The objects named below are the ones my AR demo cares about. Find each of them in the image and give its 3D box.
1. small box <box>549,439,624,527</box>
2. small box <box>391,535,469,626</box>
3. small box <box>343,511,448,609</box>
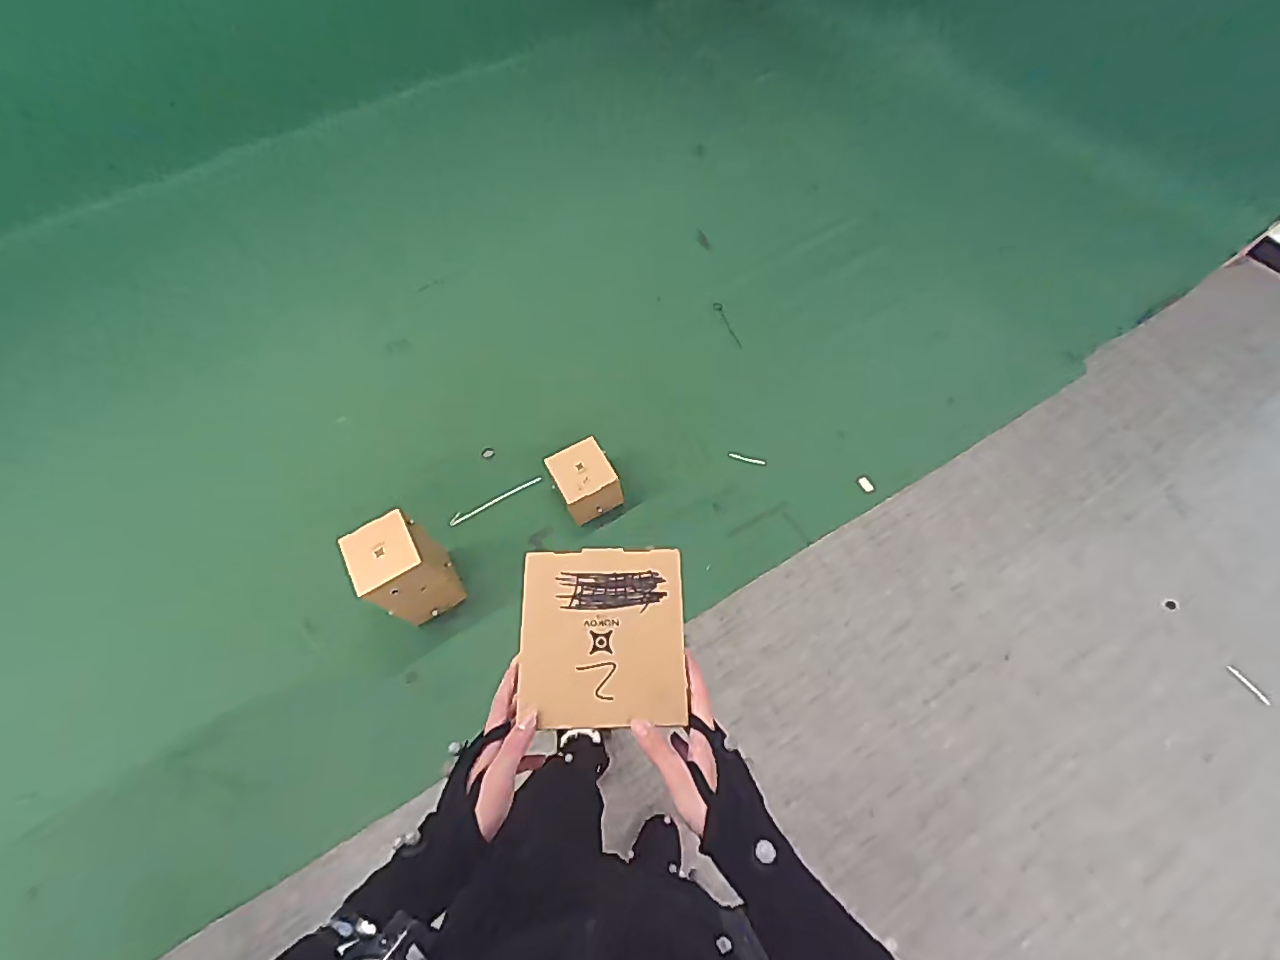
[{"bbox_3d":[-0.161,0.013,1.659,0.168,0.176,0.179,-27,64,-10],"label":"small box"},{"bbox_3d":[-0.619,0.293,1.547,0.168,0.176,0.179,-30,65,-10],"label":"small box"},{"bbox_3d":[-0.627,0.217,1.404,0.168,0.176,0.179,-30,64,-10],"label":"small box"}]
